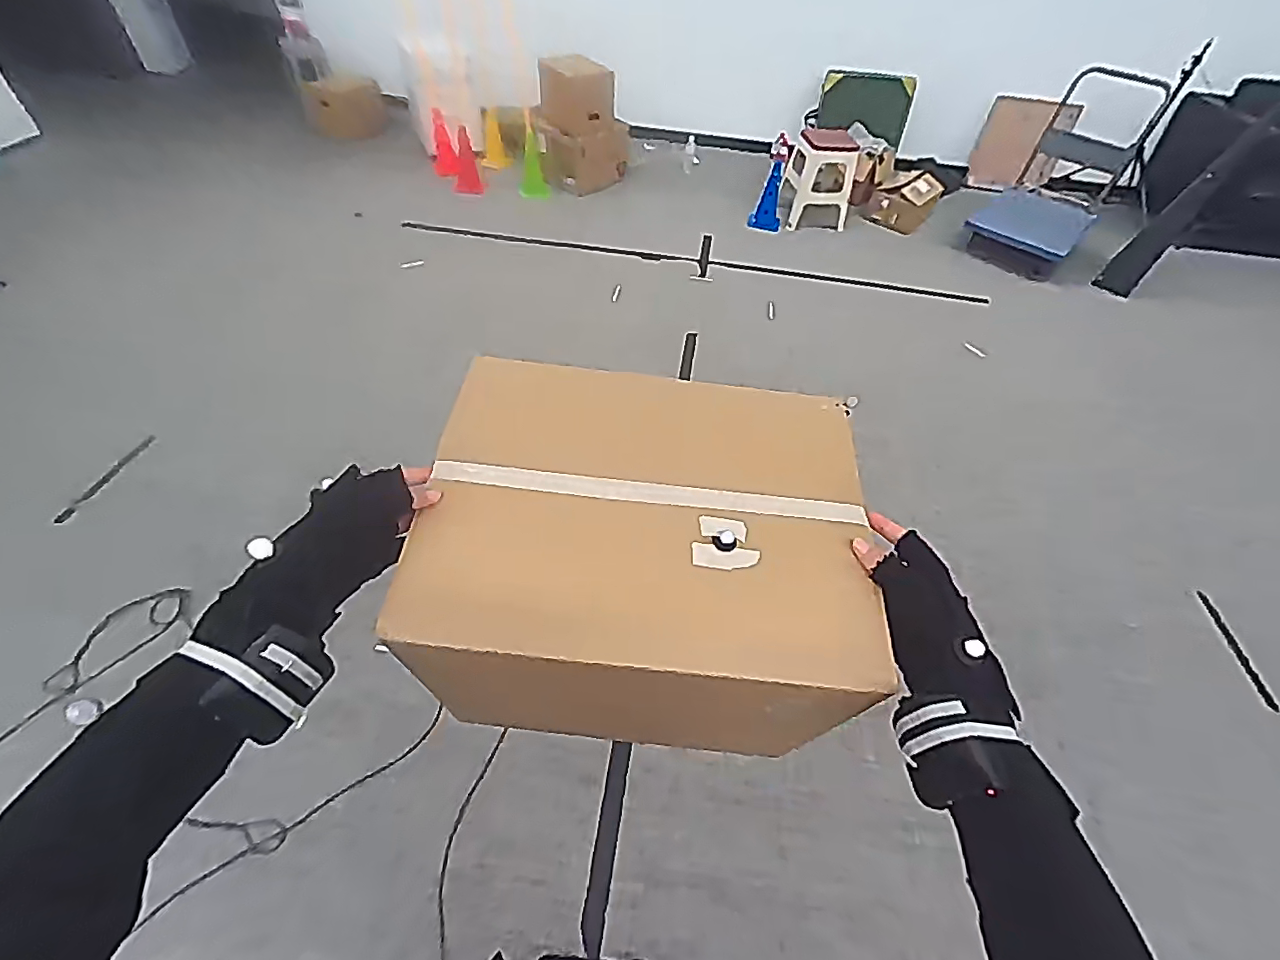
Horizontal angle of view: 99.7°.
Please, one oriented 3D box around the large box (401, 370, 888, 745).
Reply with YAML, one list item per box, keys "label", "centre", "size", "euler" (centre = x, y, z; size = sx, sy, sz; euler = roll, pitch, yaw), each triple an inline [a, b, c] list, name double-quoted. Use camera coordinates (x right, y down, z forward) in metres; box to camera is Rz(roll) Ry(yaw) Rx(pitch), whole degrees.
- label: "large box"
  centre: [0.002, 0.105, 0.638]
  size: [0.408, 0.320, 0.320]
  euler: [7, 55, -1]
